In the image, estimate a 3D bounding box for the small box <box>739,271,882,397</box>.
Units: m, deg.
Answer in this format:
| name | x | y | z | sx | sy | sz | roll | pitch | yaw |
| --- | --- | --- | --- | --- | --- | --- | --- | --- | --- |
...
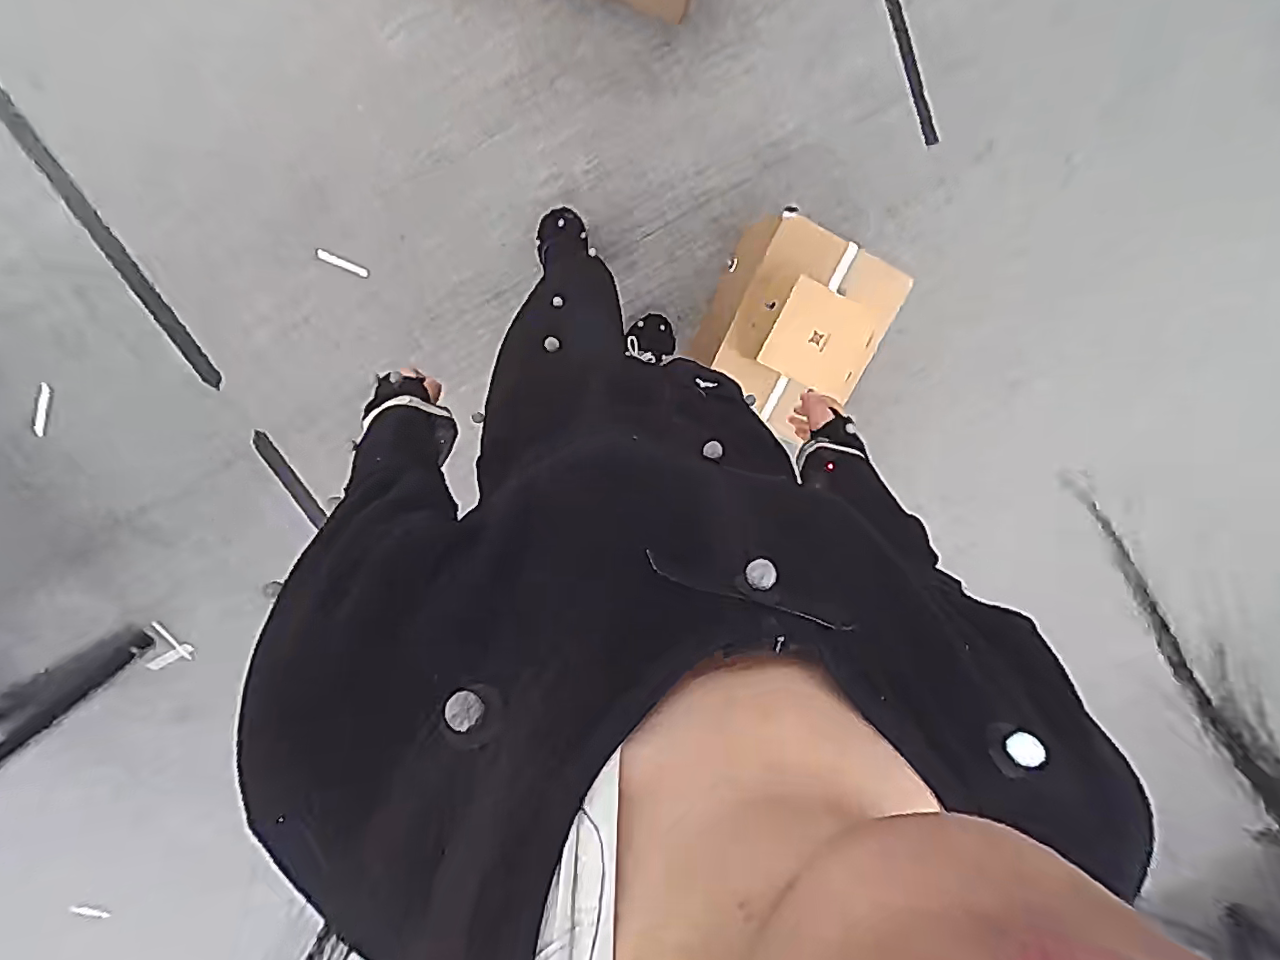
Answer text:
| name | x | y | z | sx | sy | sz | roll | pitch | yaw |
| --- | --- | --- | --- | --- | --- | --- | --- | --- | --- |
| small box | 0.314 | -0.280 | 1.040 | 0.179 | 0.176 | 0.168 | 23 | 106 | -12 |
